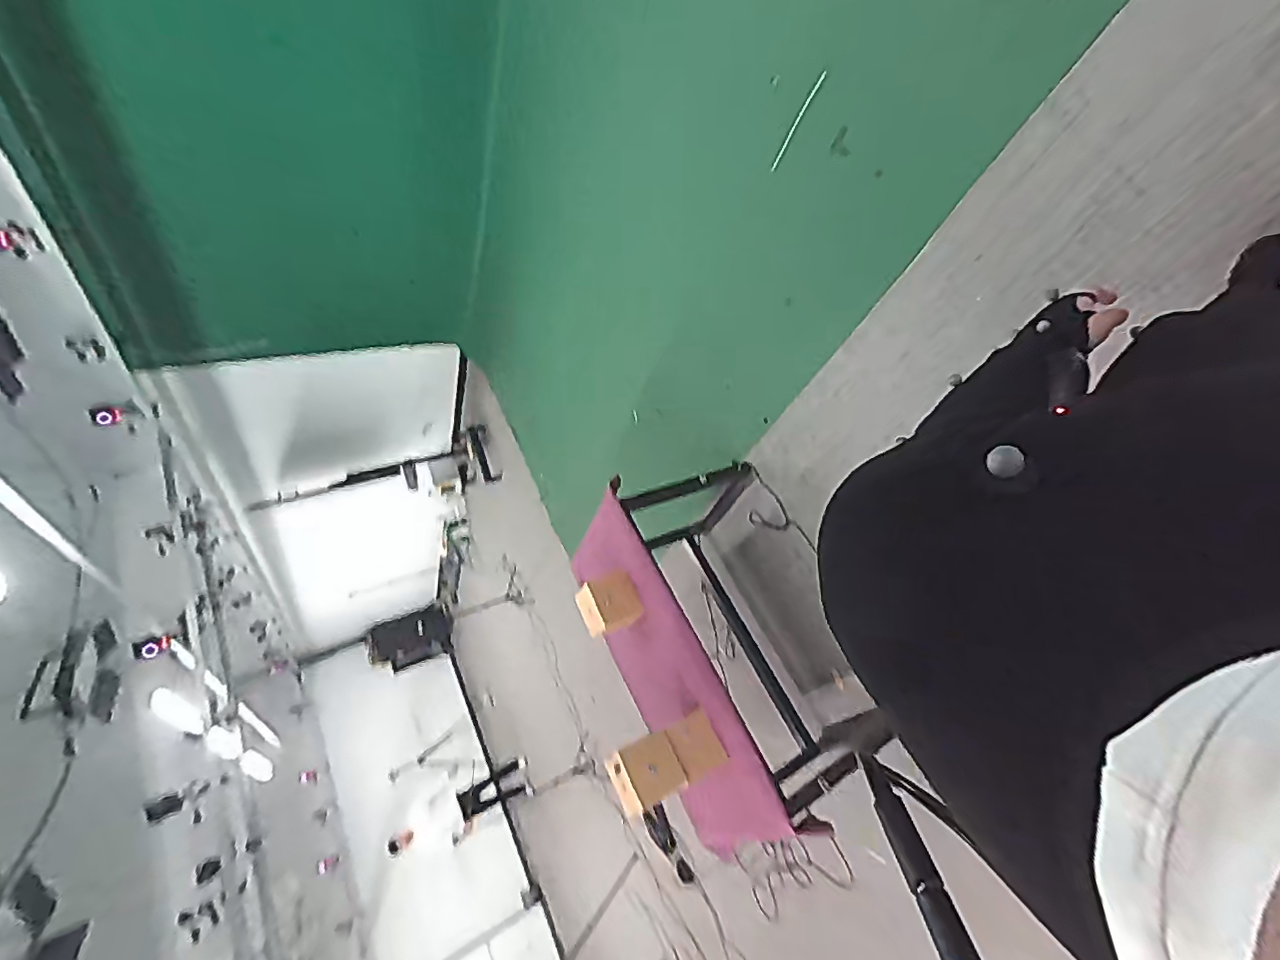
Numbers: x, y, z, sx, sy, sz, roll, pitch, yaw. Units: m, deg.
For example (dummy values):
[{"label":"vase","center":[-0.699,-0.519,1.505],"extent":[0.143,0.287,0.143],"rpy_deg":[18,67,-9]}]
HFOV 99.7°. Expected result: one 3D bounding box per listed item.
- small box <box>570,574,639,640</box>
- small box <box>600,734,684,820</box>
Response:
[{"label":"small box","center":[-0.134,0.468,2.015],"extent":[0.179,0.176,0.168],"rpy_deg":[62,145,18]},{"label":"small box","center":[0.005,0.911,1.674],"extent":[0.179,0.176,0.168],"rpy_deg":[58,145,24]}]
